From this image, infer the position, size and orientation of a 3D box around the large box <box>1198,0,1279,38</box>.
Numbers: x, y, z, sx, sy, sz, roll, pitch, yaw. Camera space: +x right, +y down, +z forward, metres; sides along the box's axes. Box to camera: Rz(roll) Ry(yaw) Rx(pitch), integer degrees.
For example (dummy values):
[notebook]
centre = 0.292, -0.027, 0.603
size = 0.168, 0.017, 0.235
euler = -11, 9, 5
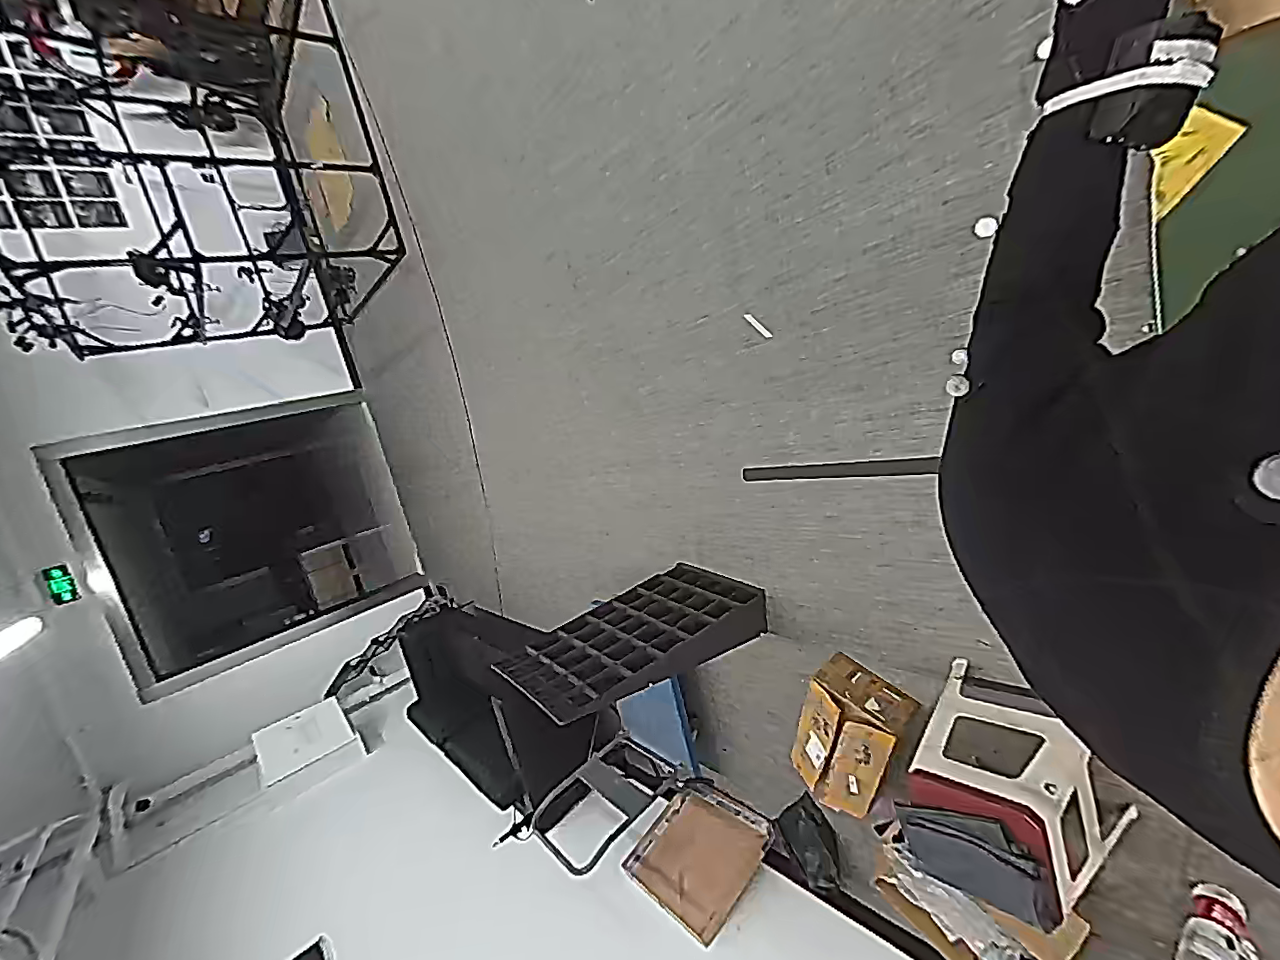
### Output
[large box]
centre = 0.572, -0.498, 0.256
size = 0.408, 0.320, 0.320
euler = 7, 121, 52
